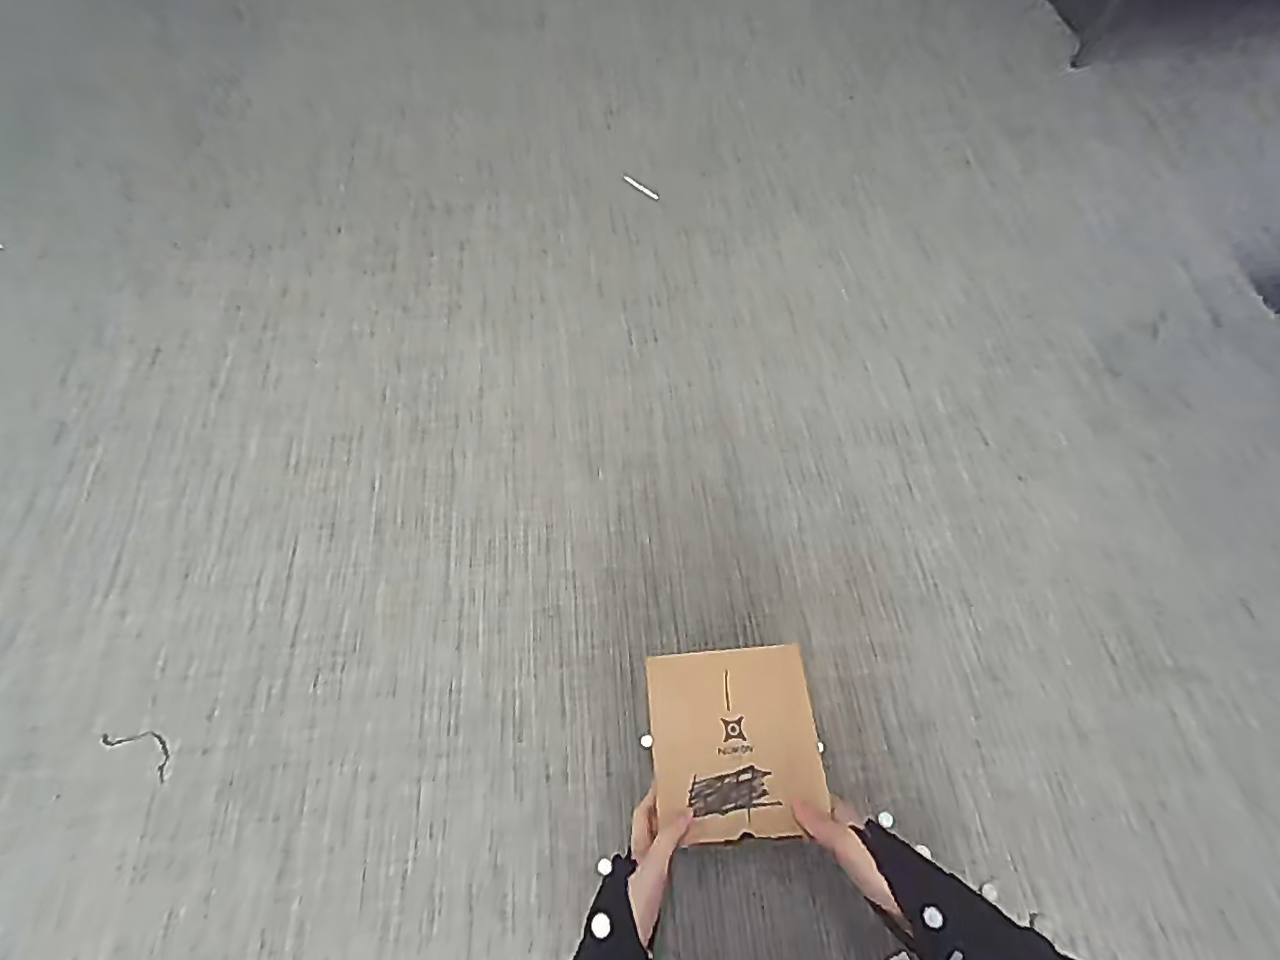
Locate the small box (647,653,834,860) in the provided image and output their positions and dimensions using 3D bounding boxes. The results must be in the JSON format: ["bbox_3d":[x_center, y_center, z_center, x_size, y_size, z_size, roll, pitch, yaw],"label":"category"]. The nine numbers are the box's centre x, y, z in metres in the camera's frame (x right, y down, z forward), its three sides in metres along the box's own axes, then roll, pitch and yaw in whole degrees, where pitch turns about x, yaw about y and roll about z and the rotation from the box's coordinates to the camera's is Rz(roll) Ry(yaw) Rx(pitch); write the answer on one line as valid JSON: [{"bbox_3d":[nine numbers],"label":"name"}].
[{"bbox_3d":[0.099,0.301,0.602,0.168,0.176,0.179,-5,62,2],"label":"small box"}]
